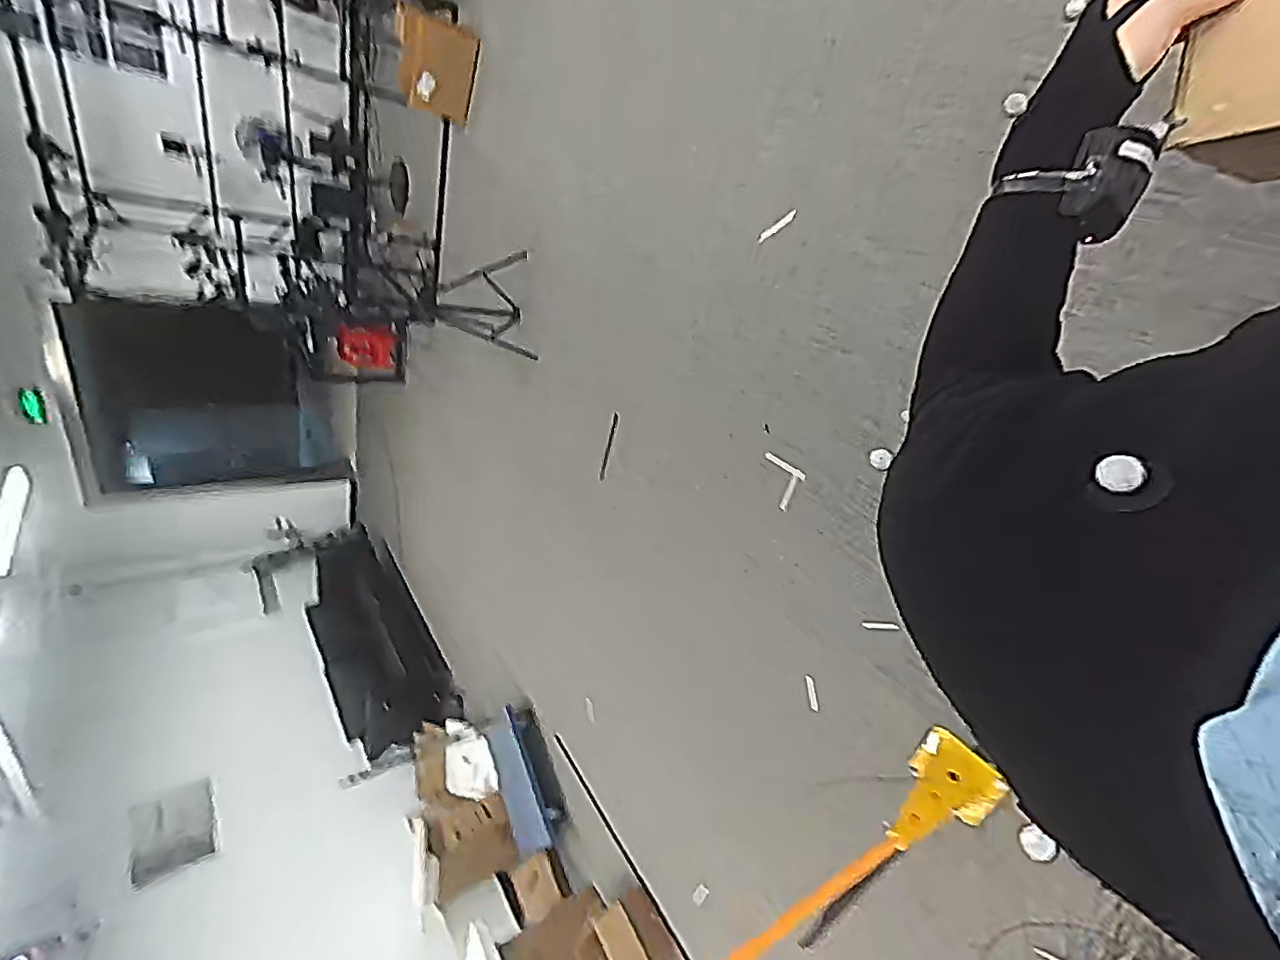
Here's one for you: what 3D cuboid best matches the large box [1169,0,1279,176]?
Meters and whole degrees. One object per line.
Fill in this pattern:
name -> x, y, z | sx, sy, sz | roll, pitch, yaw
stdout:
large box -> 0.609, -0.386, 0.274 | 0.408, 0.320, 0.320 | 18, 116, 54
